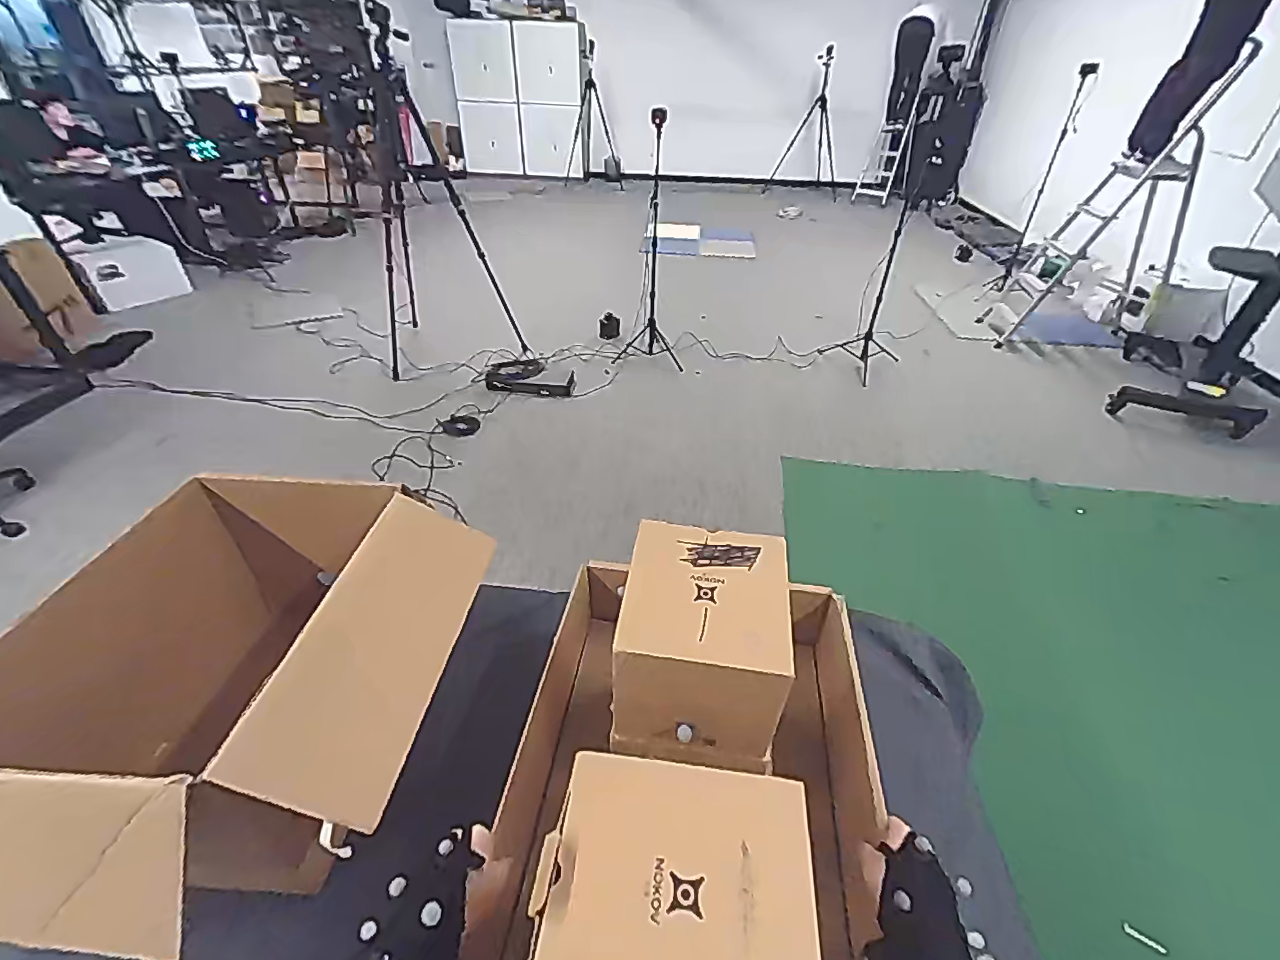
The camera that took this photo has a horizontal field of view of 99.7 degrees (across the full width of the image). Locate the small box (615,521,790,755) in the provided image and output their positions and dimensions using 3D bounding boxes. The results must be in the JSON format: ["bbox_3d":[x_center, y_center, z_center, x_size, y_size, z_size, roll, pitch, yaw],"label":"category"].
[{"bbox_3d":[0.067,0.174,0.606,0.168,0.176,0.179,7,41,6],"label":"small box"}]

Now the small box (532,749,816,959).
[{"bbox_3d":[0.025,0.334,0.410,0.179,0.176,0.168,6,39,4],"label":"small box"}]
